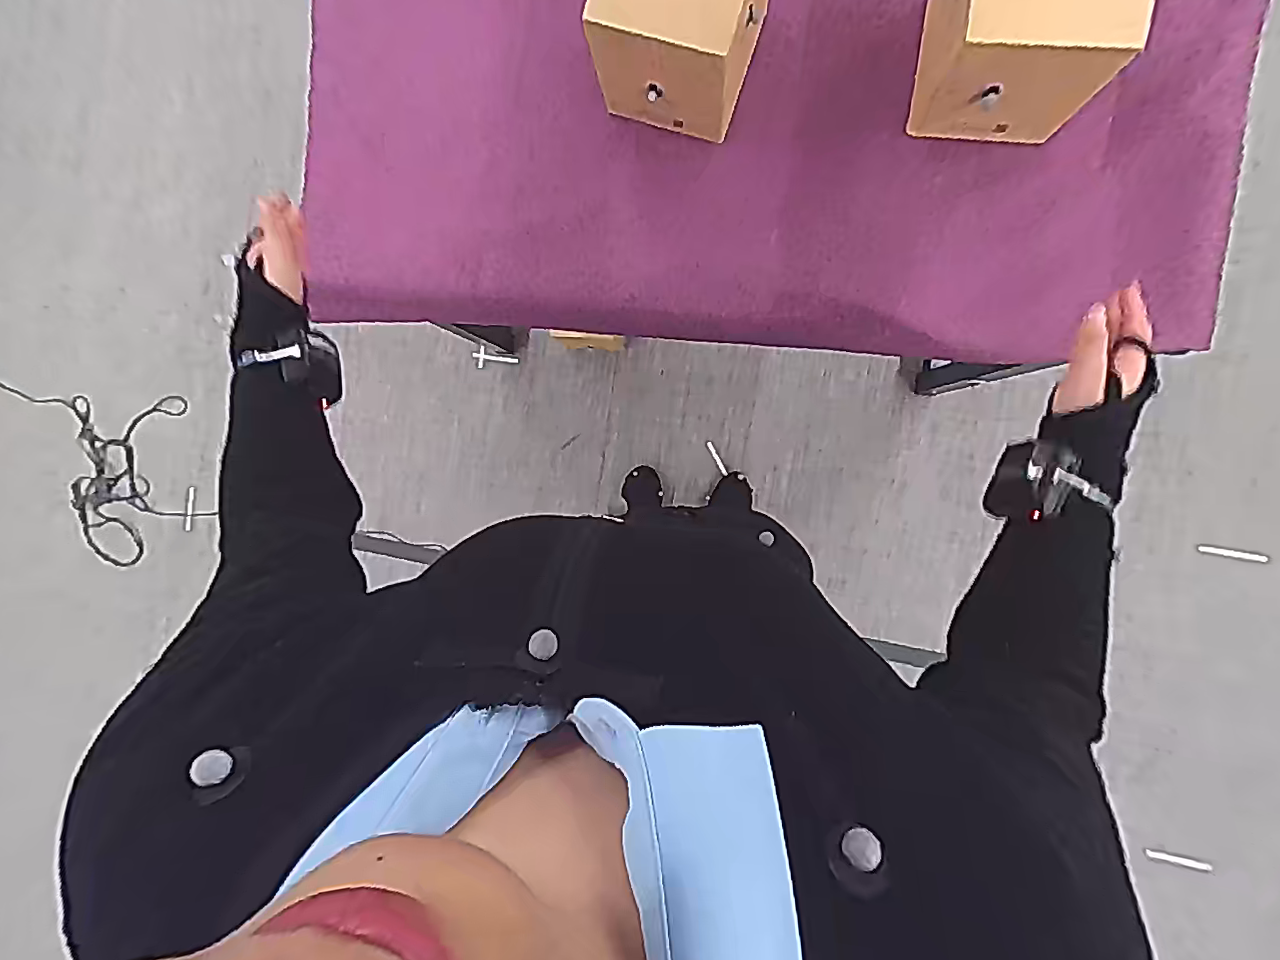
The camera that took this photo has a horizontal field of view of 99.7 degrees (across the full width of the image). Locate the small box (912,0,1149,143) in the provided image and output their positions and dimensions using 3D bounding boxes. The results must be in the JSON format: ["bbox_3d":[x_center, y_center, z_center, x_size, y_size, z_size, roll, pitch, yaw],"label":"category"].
[{"bbox_3d":[0.427,-0.513,0.607,0.168,0.176,0.179,9,93,7],"label":"small box"}]

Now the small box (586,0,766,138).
[{"bbox_3d":[0.054,-0.555,0.648,0.168,0.176,0.179,20,95,5],"label":"small box"}]
